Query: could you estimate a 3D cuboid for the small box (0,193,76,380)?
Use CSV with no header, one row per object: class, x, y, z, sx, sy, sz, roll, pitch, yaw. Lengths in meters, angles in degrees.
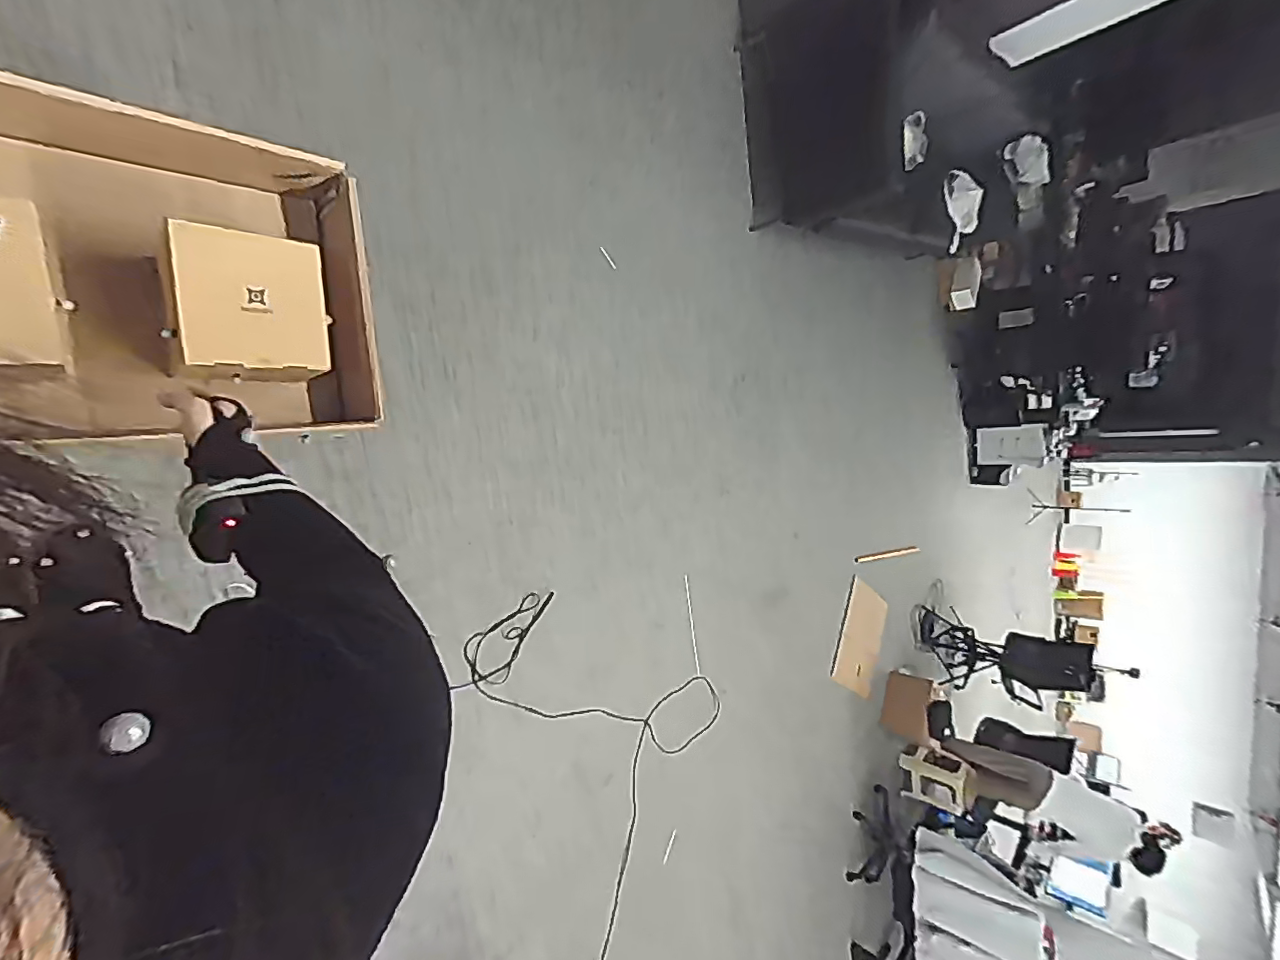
small box,-0.744,-0.205,0.585,0.168,0.176,0.179,-12,101,-44
